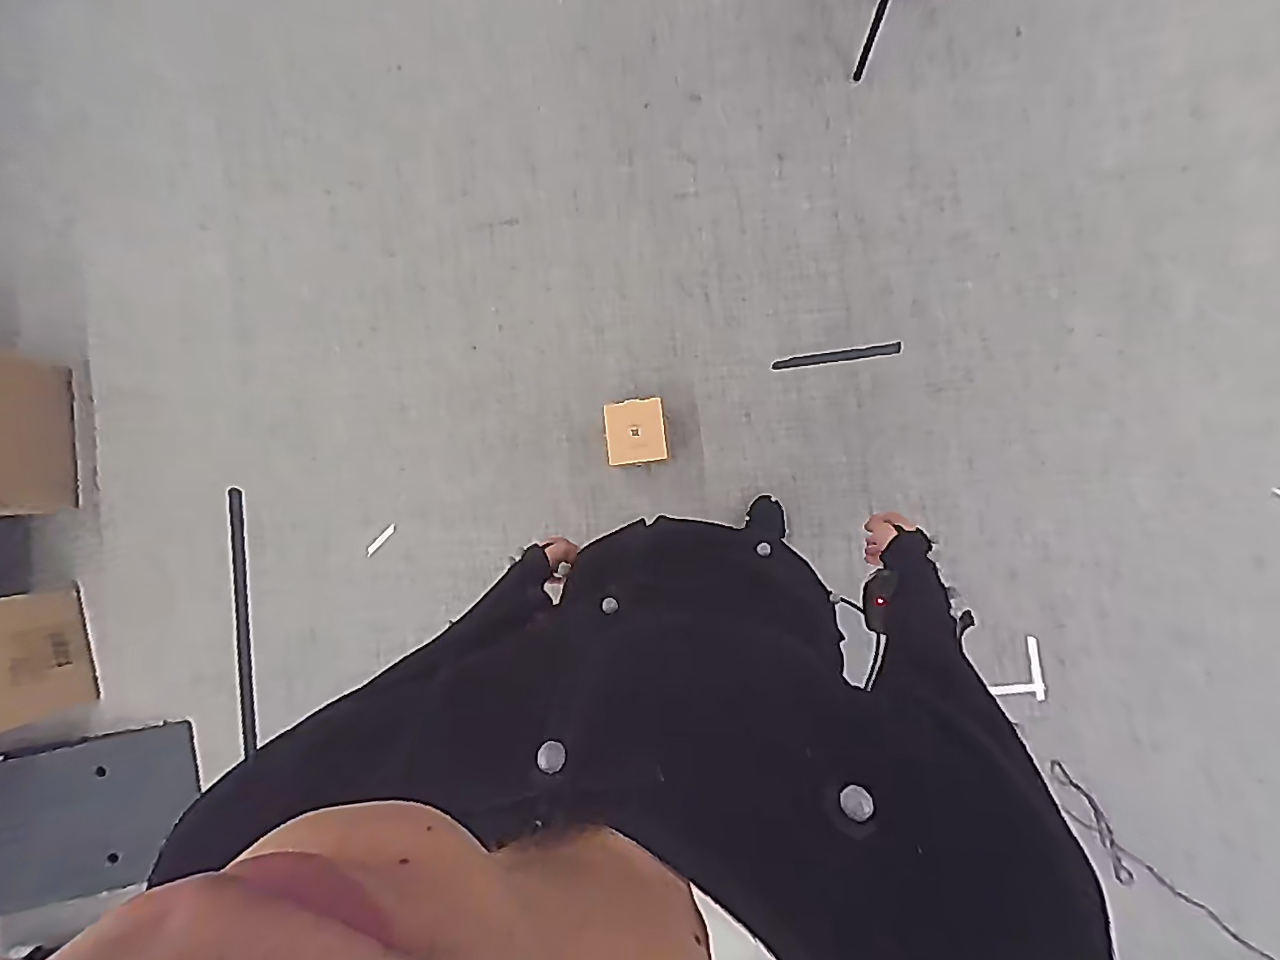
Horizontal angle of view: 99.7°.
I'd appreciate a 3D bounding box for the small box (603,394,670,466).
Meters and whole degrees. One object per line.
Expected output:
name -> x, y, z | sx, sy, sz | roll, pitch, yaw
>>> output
small box -> -0.006, -0.139, 1.571 | 0.168, 0.176, 0.179 | -7, 87, 8
